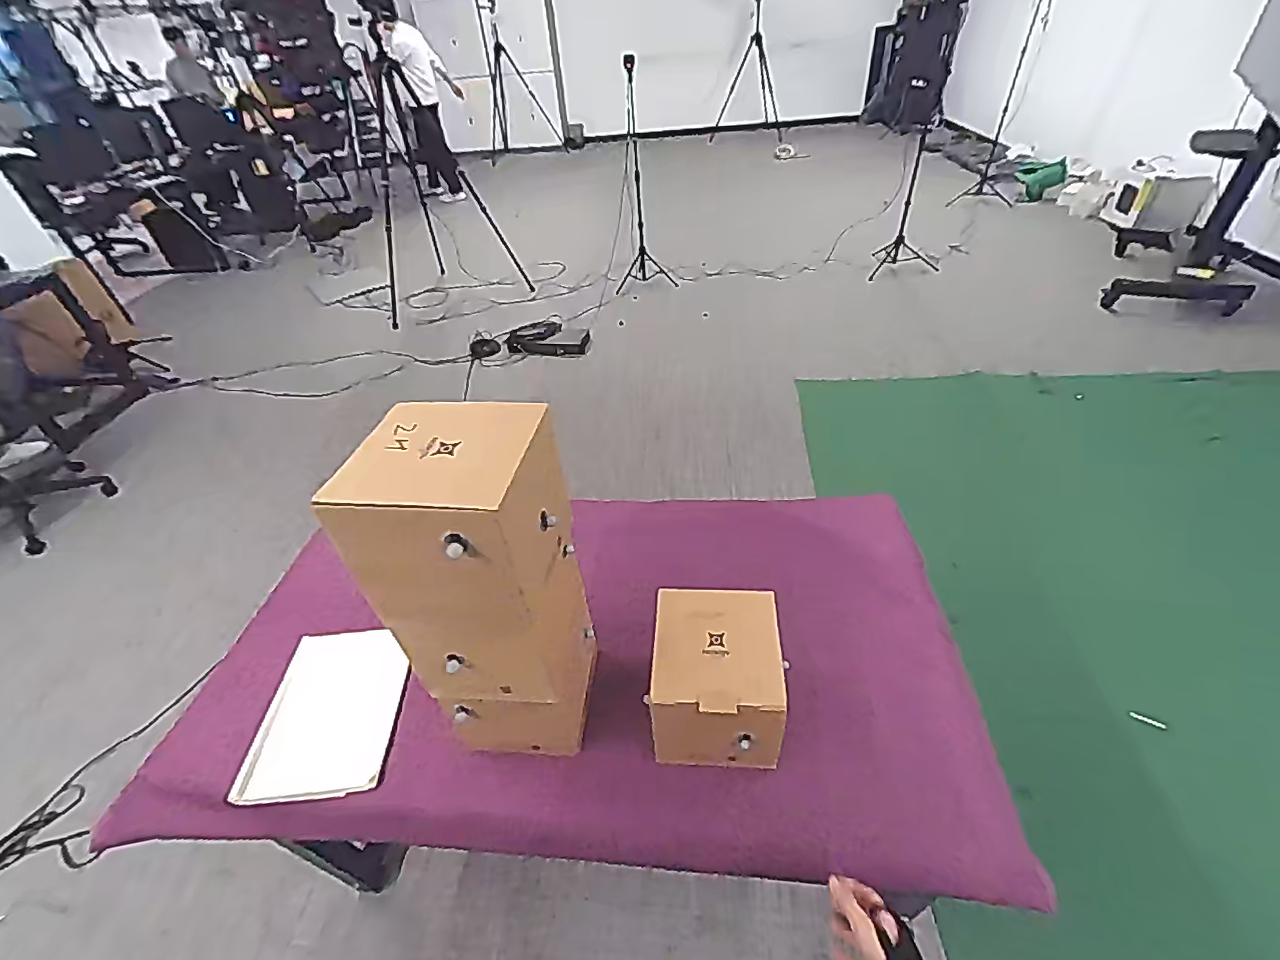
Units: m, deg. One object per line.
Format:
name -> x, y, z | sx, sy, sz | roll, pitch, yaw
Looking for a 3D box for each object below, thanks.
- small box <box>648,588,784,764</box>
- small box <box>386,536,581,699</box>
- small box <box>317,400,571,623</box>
small box -> 0.105, 0.275, 0.760 | 0.168, 0.176, 0.179 | 1, 40, 7
small box -> -0.176, 0.154, 0.680 | 0.168, 0.176, 0.179 | 0, 40, 7
small box -> -0.181, 0.032, 0.568 | 0.179, 0.176, 0.168 | 2, 39, 9
